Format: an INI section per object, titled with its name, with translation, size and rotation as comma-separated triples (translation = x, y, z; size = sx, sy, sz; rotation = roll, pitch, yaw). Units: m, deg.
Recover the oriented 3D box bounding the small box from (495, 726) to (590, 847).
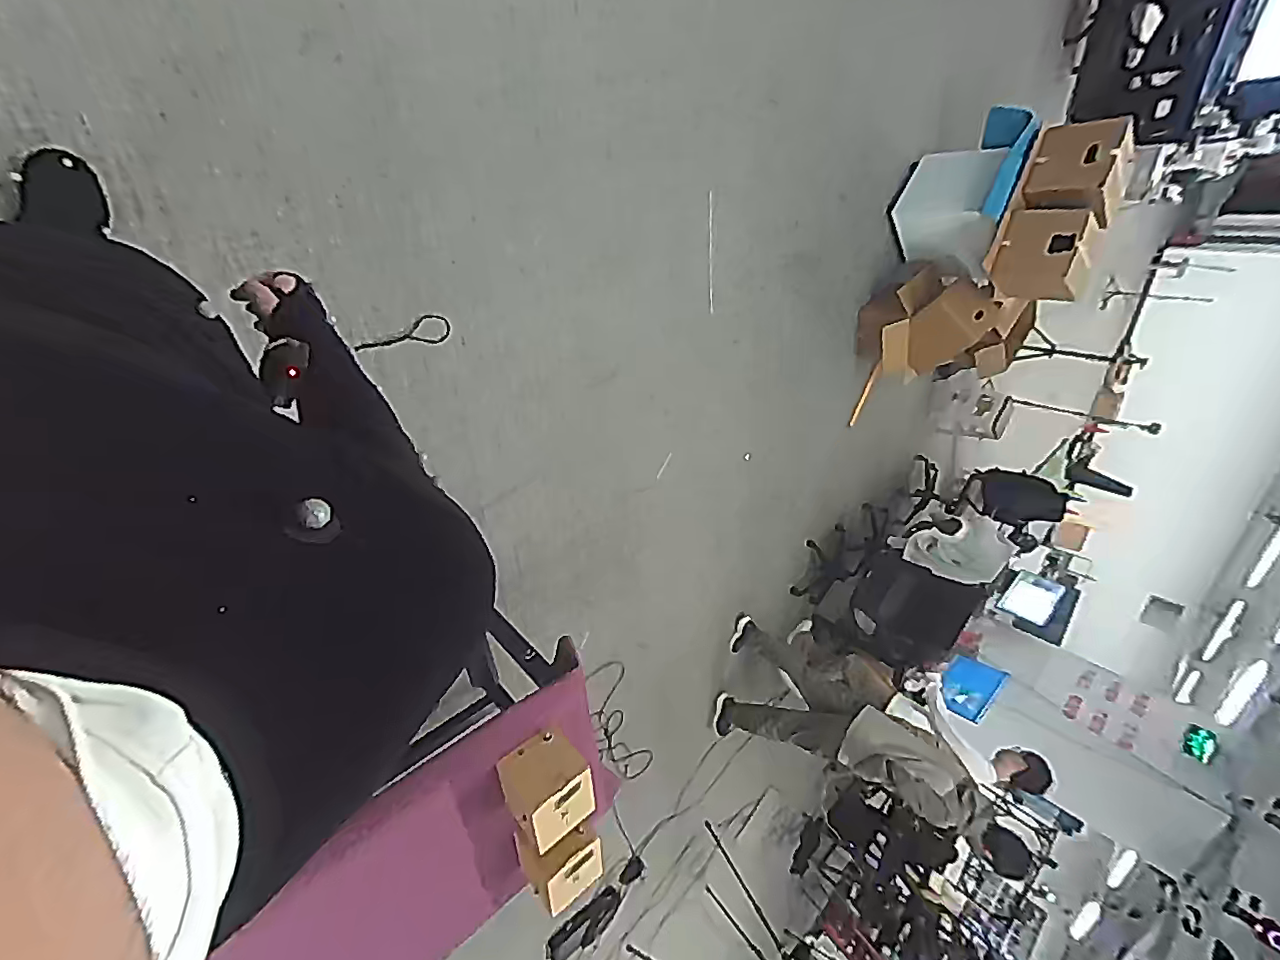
[small box]
translation = -0.244, 0.748, 1.347
size = 0.168, 0.176, 0.179
rotation = -25, 127, -35
